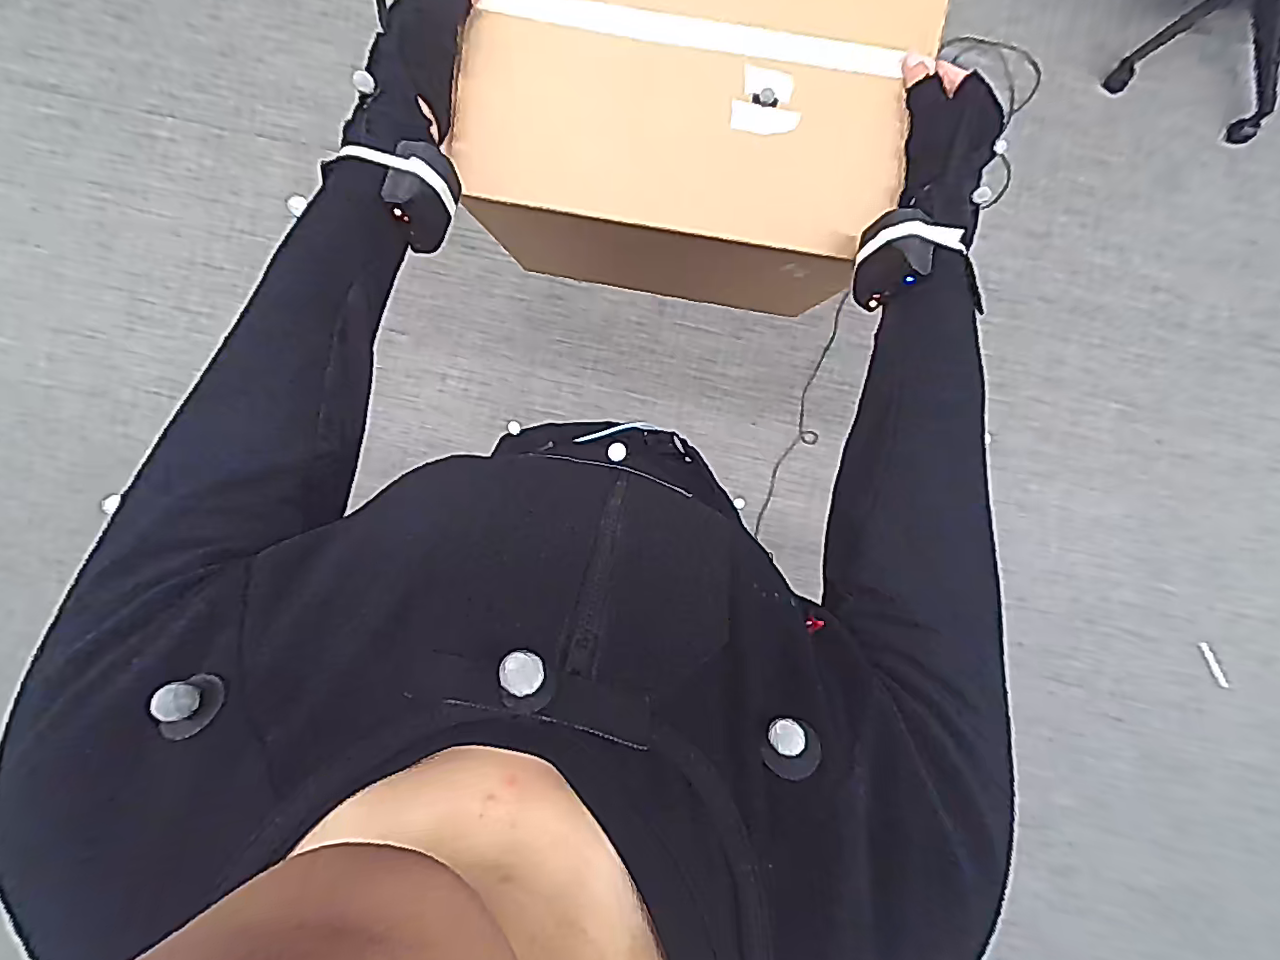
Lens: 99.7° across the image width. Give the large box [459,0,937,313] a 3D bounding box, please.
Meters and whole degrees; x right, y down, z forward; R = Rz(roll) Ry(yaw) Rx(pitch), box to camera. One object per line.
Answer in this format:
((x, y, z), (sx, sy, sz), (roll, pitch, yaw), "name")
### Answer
((0.050, -0.400, 0.621), (0.408, 0.320, 0.320), (9, 99, -1), "large box")
